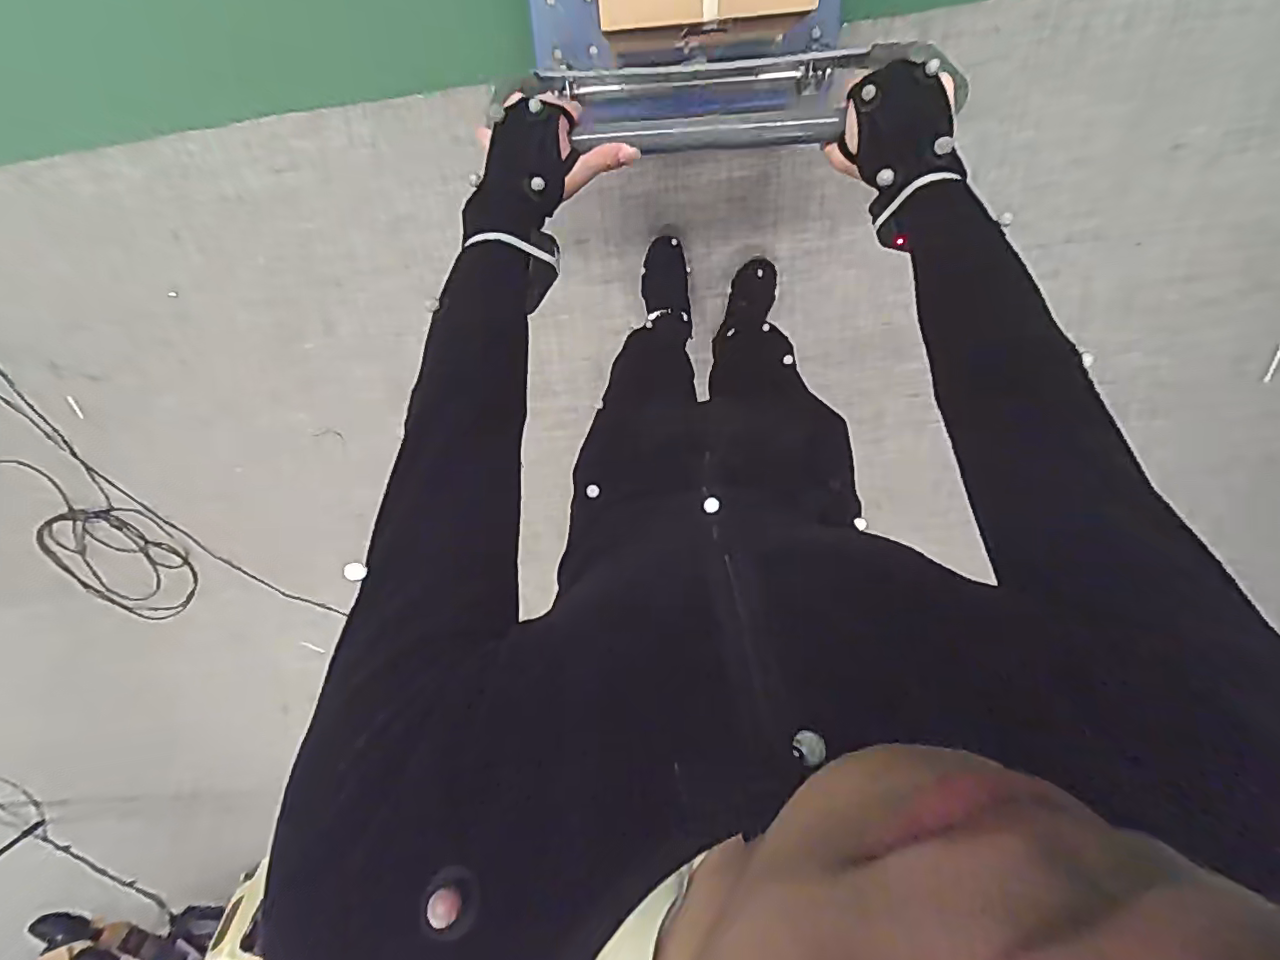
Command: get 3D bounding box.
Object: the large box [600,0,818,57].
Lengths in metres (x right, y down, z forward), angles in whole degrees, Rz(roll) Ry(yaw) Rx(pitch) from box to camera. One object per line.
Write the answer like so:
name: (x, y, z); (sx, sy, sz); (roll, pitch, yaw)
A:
large box: (0.089, -0.905, 0.796); (0.320, 0.320, 0.408); (-3, 123, 3)
